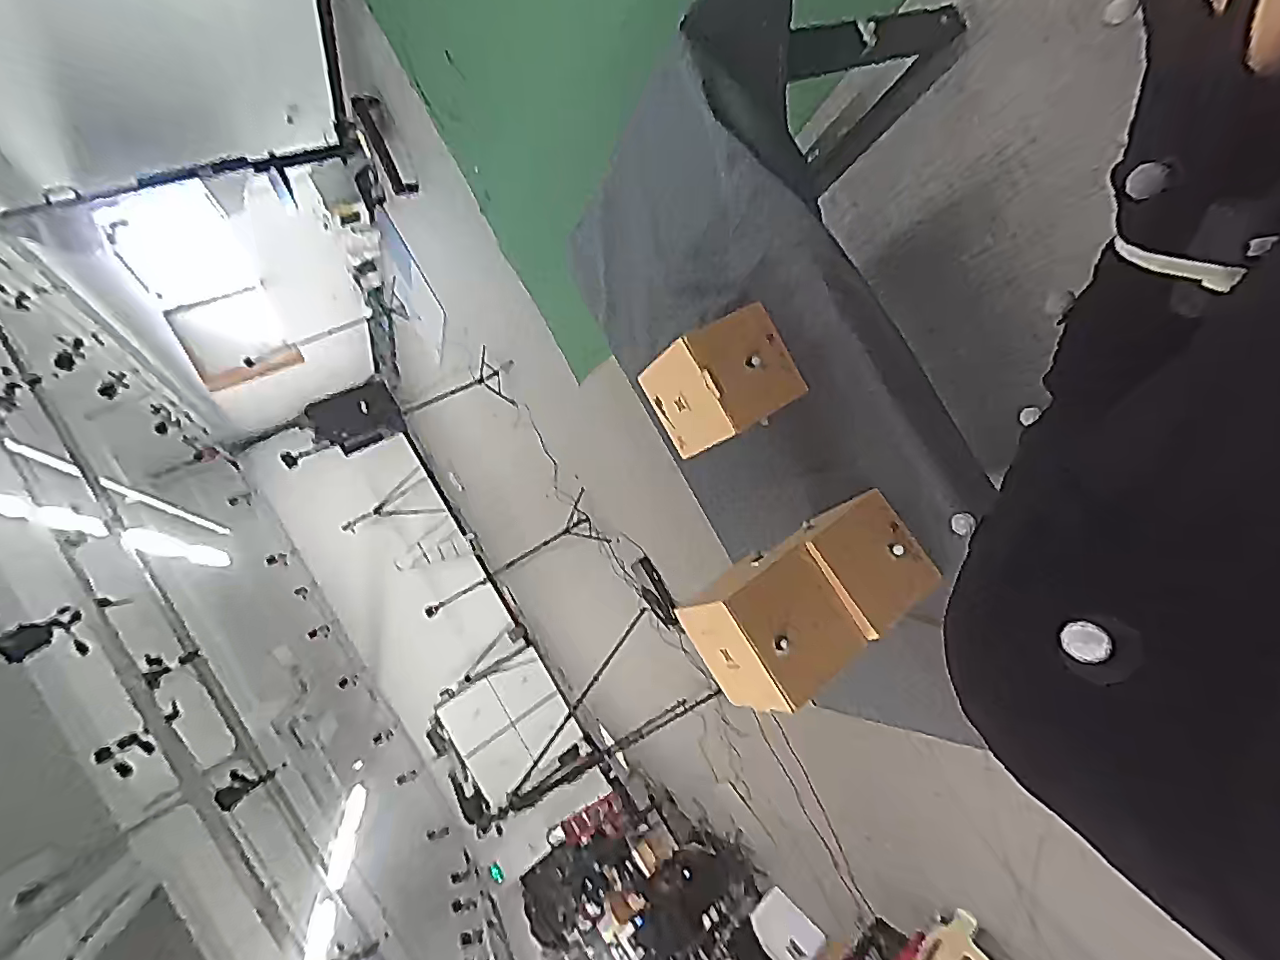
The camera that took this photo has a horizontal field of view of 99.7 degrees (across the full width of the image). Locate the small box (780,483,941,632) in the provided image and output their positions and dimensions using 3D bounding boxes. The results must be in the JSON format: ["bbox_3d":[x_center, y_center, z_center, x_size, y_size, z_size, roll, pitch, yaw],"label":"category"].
[{"bbox_3d":[0.333,0.131,0.868,0.168,0.176,0.179,55,154,8],"label":"small box"}]

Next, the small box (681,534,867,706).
[{"bbox_3d":[0.199,0.206,0.812,0.179,0.176,0.168,58,153,4],"label":"small box"}]

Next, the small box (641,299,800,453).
[{"bbox_3d":[0.138,-0.170,0.894,0.168,0.176,0.179,60,154,-2],"label":"small box"}]
